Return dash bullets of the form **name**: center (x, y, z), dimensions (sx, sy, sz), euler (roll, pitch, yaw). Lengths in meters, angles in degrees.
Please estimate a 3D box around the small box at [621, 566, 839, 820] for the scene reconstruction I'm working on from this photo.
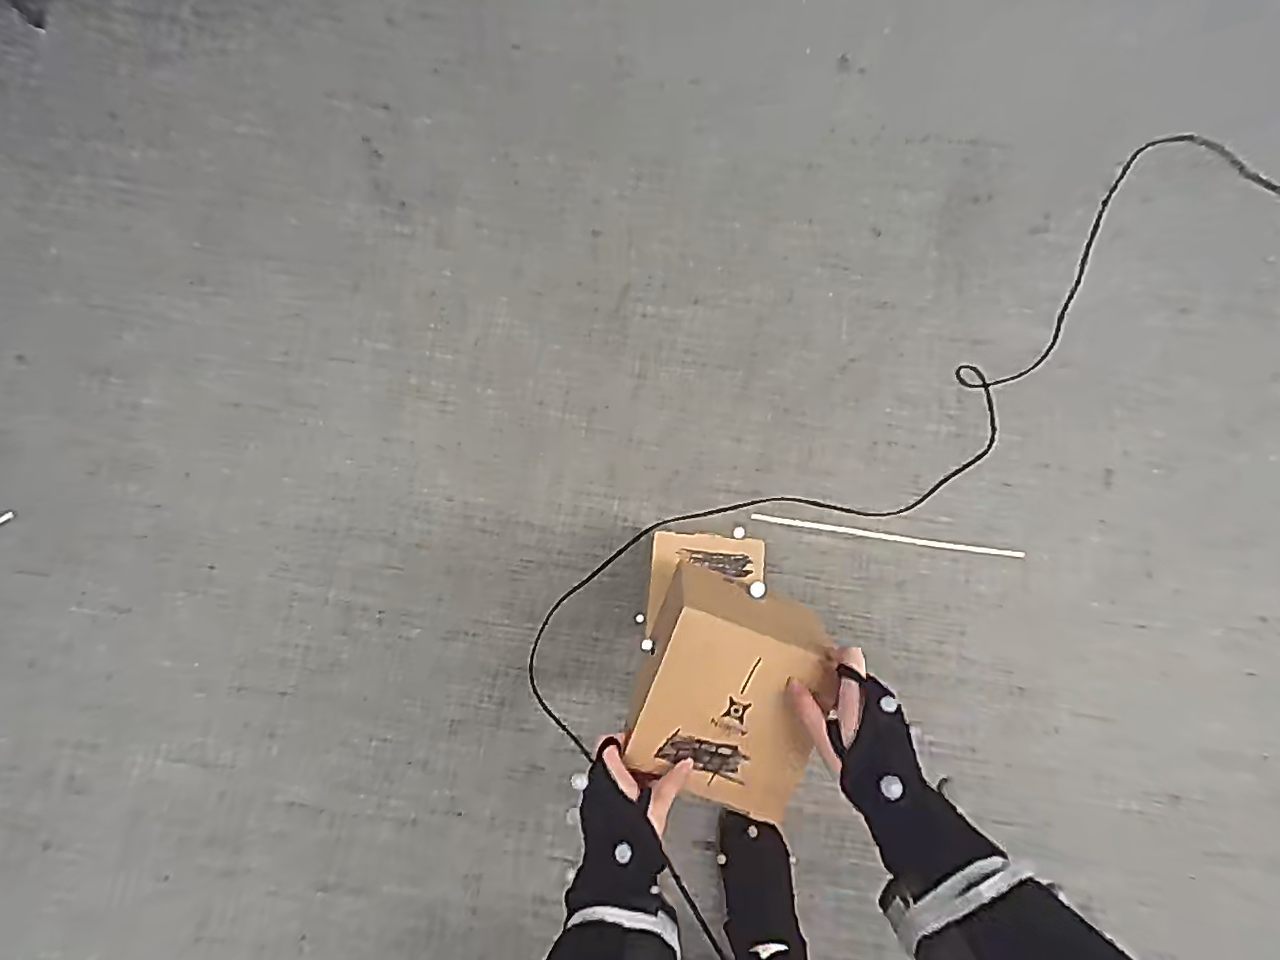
- **small box**: center (0.091, 0.219, 0.601), dimensions (0.168, 0.176, 0.179), euler (19, 97, 1)
